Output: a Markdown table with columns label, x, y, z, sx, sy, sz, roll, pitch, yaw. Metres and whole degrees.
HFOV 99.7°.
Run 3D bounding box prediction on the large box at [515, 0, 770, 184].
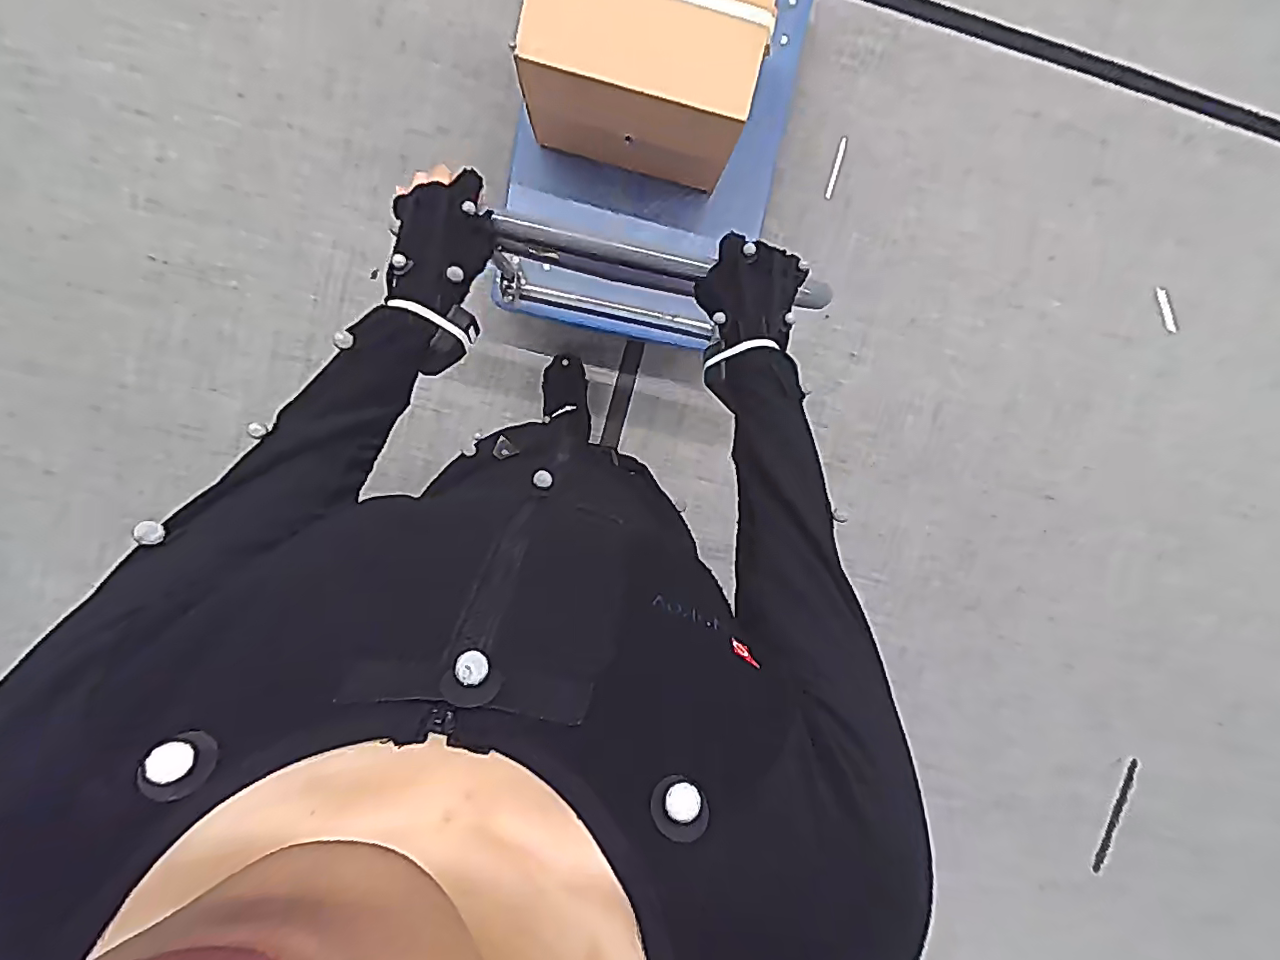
| label | x | y | z | sx | sy | sz | roll | pitch | yaw |
| --- | --- | --- | --- | --- | --- | --- | --- | --- | --- |
| large box | 0.012 | -0.827 | 1.042 | 0.408 | 0.320 | 0.320 | 13 | 97 | -4 |
